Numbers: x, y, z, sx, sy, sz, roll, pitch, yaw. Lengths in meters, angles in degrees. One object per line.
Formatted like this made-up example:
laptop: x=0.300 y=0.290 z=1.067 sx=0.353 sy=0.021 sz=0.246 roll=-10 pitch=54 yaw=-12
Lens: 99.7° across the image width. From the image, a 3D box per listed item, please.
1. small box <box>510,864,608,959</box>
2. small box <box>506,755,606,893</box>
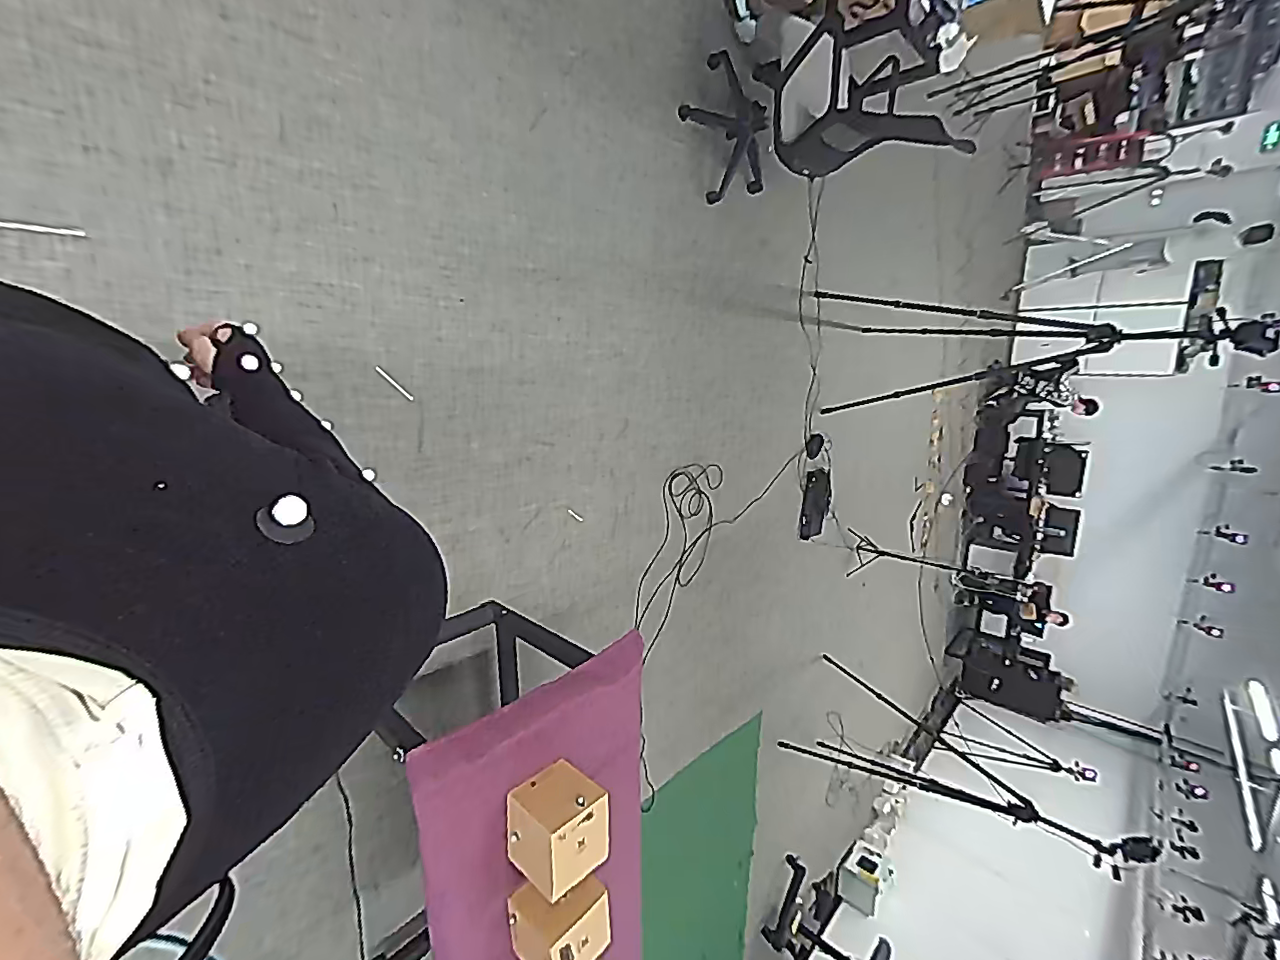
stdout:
small box: x=-0.201 y=1.050 z=1.316 sx=0.179 sy=0.176 sz=0.168 roll=-18 pitch=112 yaw=-46
small box: x=-0.198 y=0.788 z=1.260 sx=0.168 sy=0.176 sz=0.179 roll=-11 pitch=107 yaw=-47
